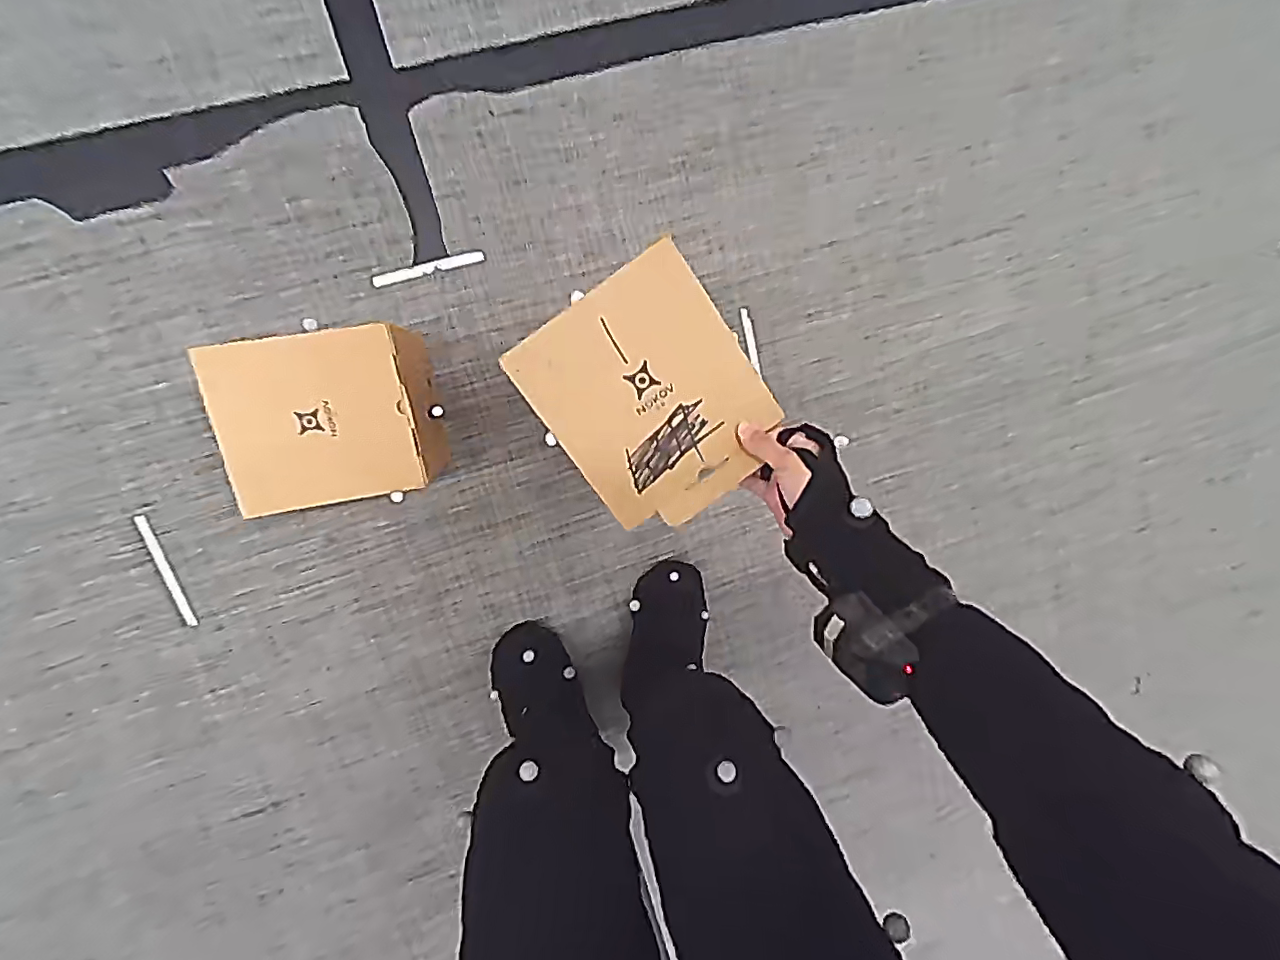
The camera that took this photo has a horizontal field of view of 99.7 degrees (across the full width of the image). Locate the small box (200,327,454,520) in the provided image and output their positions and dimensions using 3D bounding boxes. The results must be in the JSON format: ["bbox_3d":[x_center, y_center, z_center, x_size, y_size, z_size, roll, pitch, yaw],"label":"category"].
[{"bbox_3d":[-0.320,-0.067,0.596,0.179,0.176,0.168,-11,102,-10],"label":"small box"}]

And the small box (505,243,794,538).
[{"bbox_3d":[0.004,-0.080,0.499,0.168,0.176,0.179,-36,101,1],"label":"small box"}]
